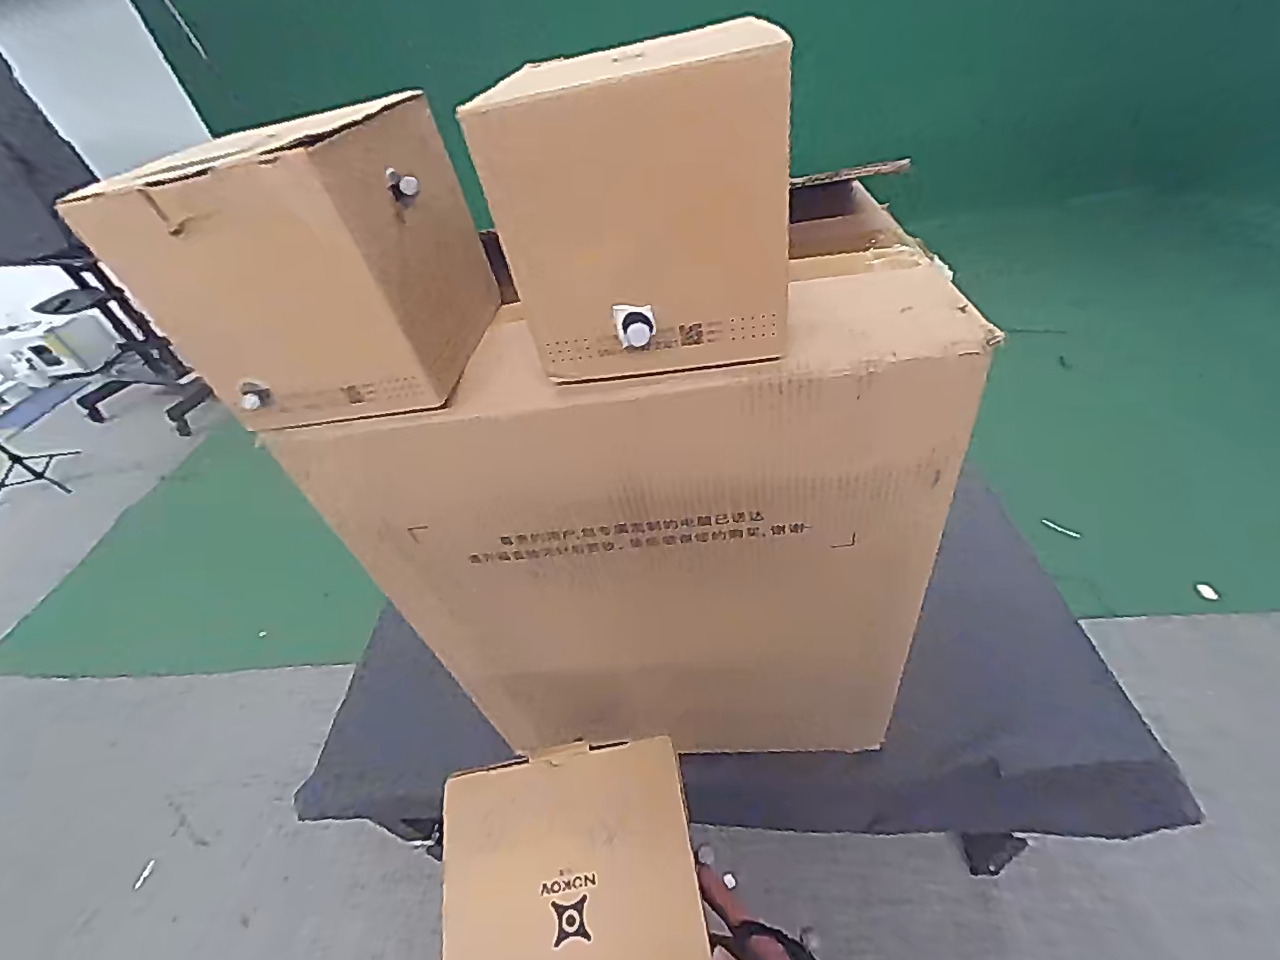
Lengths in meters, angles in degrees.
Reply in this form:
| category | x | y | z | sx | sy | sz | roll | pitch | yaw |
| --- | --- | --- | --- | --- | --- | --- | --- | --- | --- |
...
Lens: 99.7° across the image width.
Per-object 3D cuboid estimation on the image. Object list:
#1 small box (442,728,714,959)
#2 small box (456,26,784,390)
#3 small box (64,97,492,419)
| category | x | y | z | sx | sy | sz | roll | pitch | yaw |
| --- | --- | --- | --- | --- | --- | --- | --- | --- | --- |
| small box | -0.038 | 0.307 | 0.415 | 0.168 | 0.176 | 0.179 | -11 | 59 | 1 |
| small box | 0.003 | -0.185 | 0.375 | 0.168 | 0.176 | 0.179 | -6 | 43 | 9 |
| small box | -0.233 | -0.158 | 0.410 | 0.168 | 0.176 | 0.179 | -5 | 42 | 11 |
